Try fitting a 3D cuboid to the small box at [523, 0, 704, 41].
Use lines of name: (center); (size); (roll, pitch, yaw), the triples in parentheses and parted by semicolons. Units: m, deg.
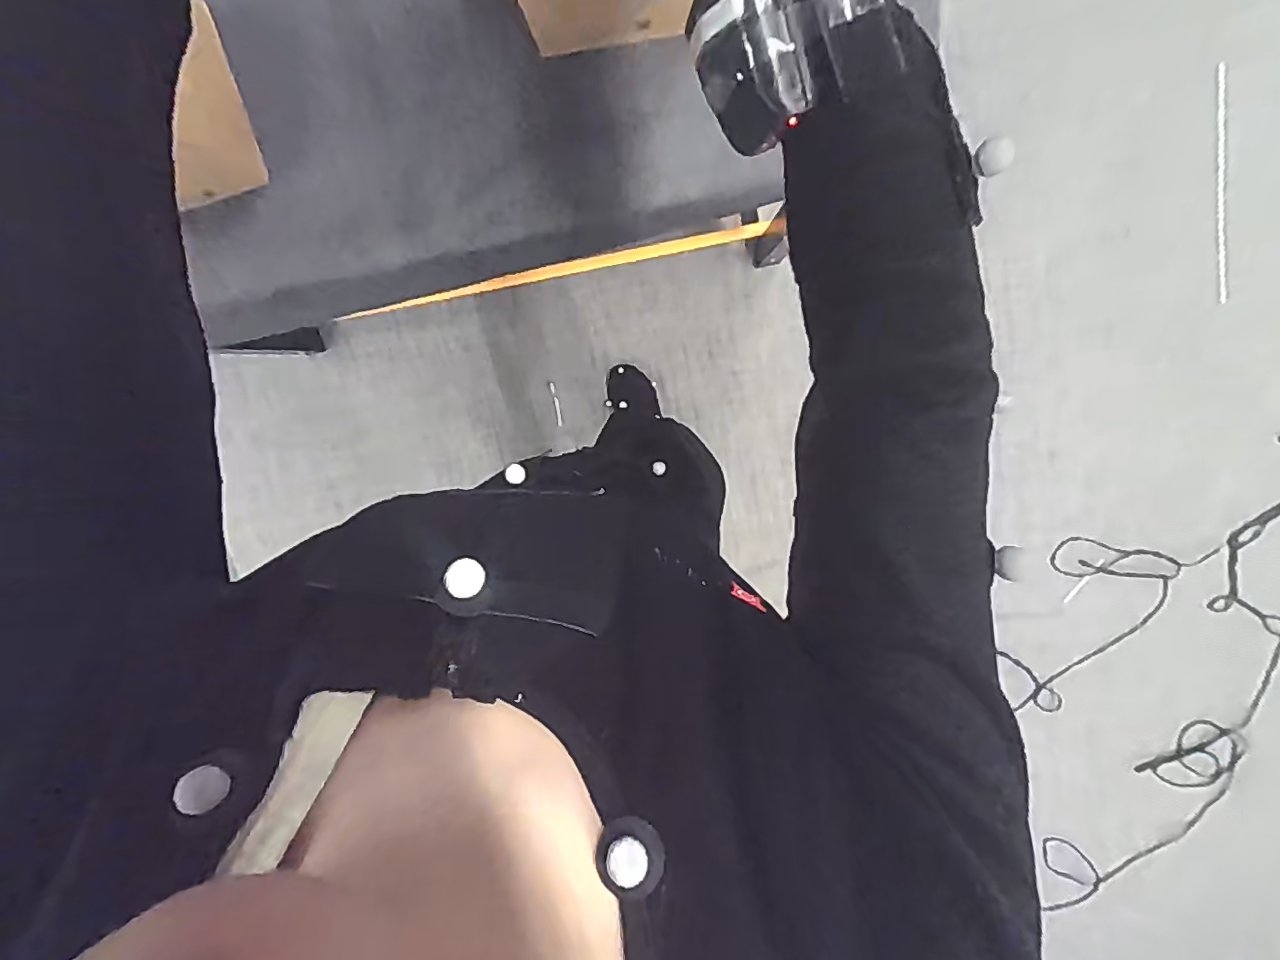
small box: (-0.031, -0.497, 0.435); (0.168, 0.176, 0.179); (-6, 101, 4)
